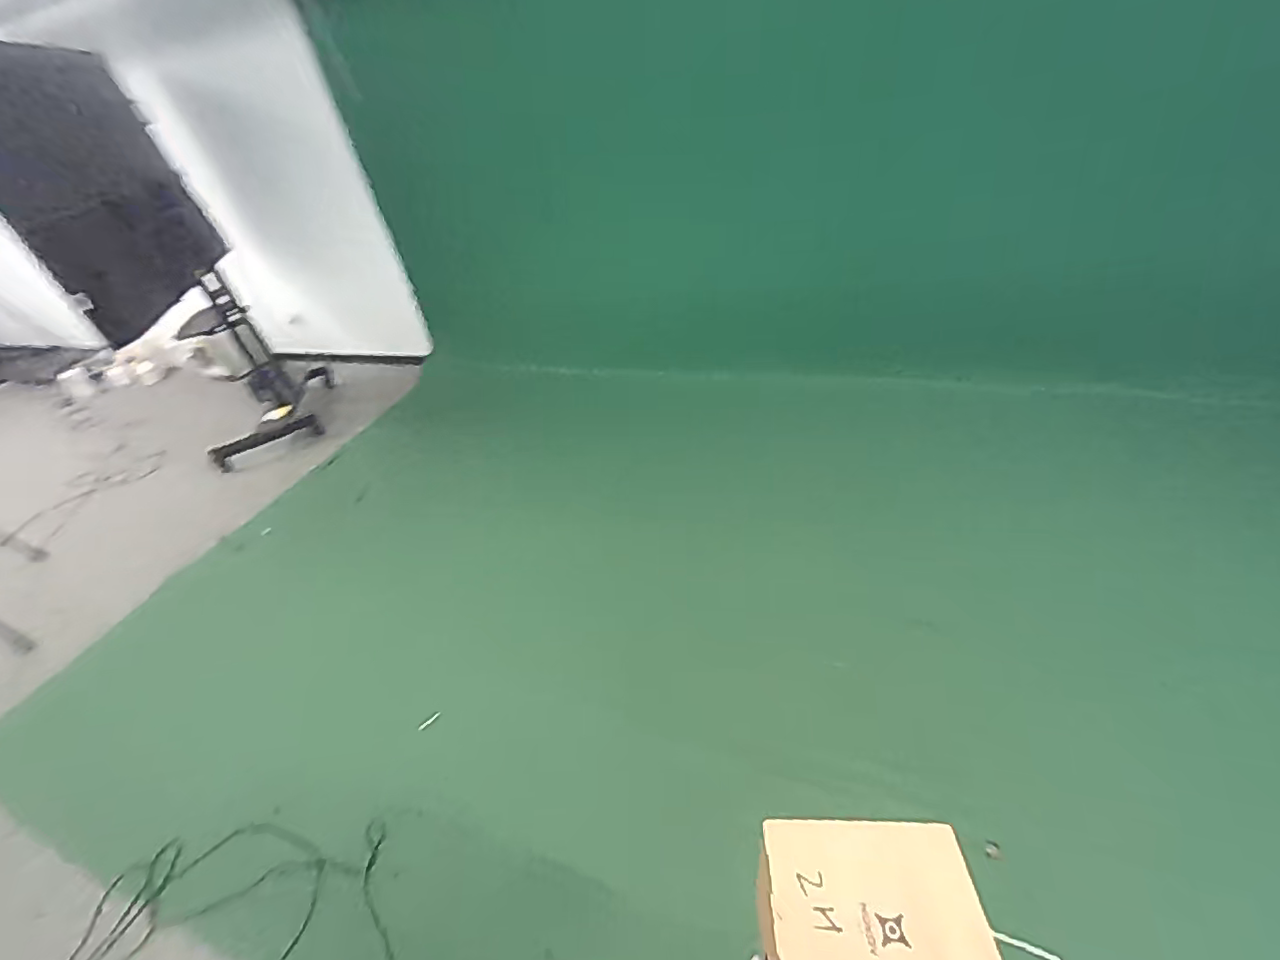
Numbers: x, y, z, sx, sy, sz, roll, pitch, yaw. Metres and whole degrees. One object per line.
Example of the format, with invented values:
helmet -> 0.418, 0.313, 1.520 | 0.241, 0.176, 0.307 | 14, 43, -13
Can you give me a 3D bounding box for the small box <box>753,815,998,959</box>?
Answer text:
small box -> 0.201, 0.433, 0.488 | 0.179, 0.176, 0.168 | -2, 33, 6
